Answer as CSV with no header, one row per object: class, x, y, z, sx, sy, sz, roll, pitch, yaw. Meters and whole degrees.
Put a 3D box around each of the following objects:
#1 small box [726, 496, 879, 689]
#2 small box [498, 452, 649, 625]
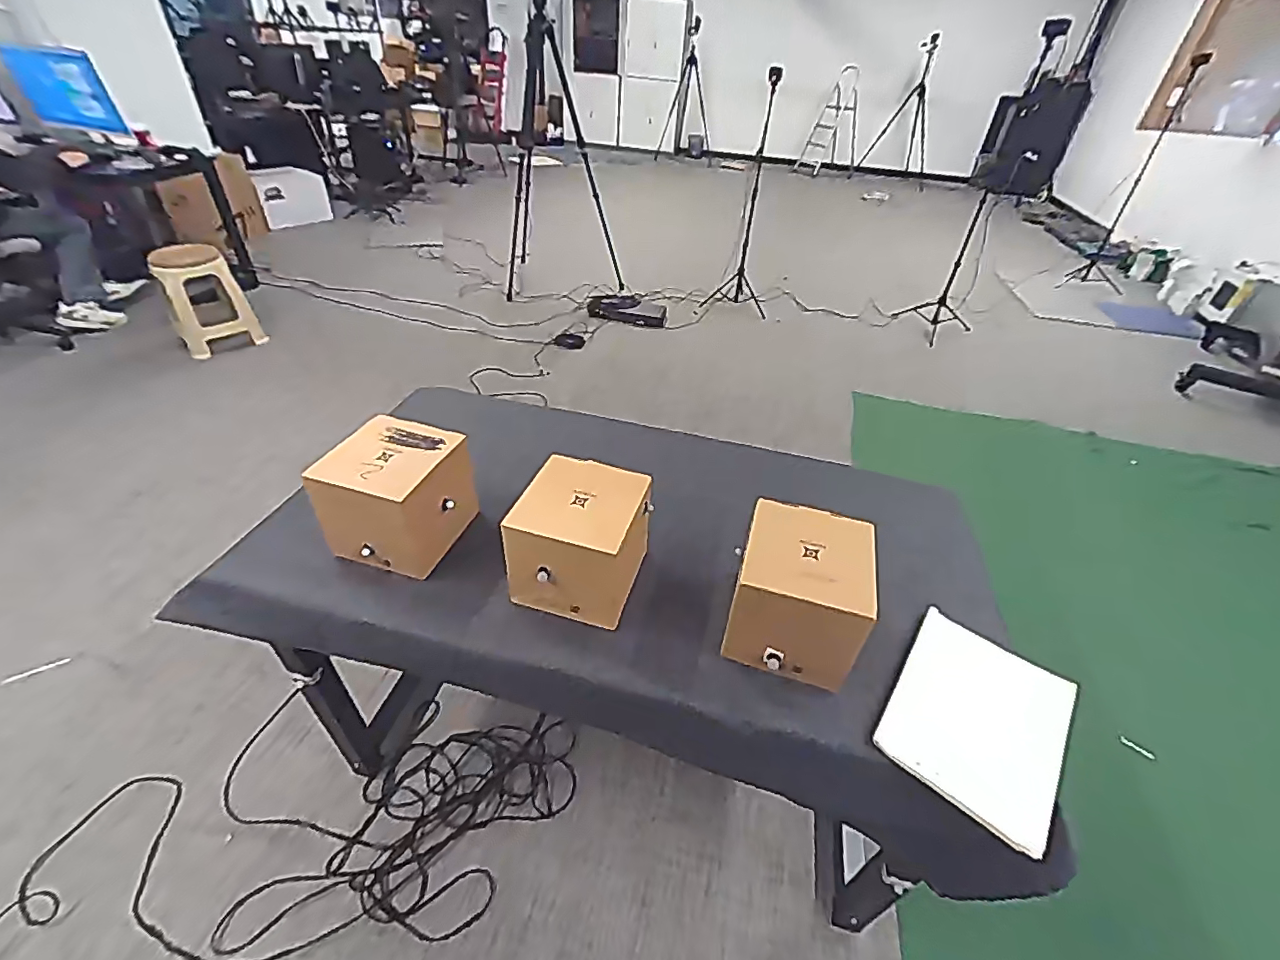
small box,0.221,0.154,0.755,0.168,0.176,0.179,12,41,12
small box,-0.089,0.087,0.808,0.168,0.176,0.179,13,39,11
